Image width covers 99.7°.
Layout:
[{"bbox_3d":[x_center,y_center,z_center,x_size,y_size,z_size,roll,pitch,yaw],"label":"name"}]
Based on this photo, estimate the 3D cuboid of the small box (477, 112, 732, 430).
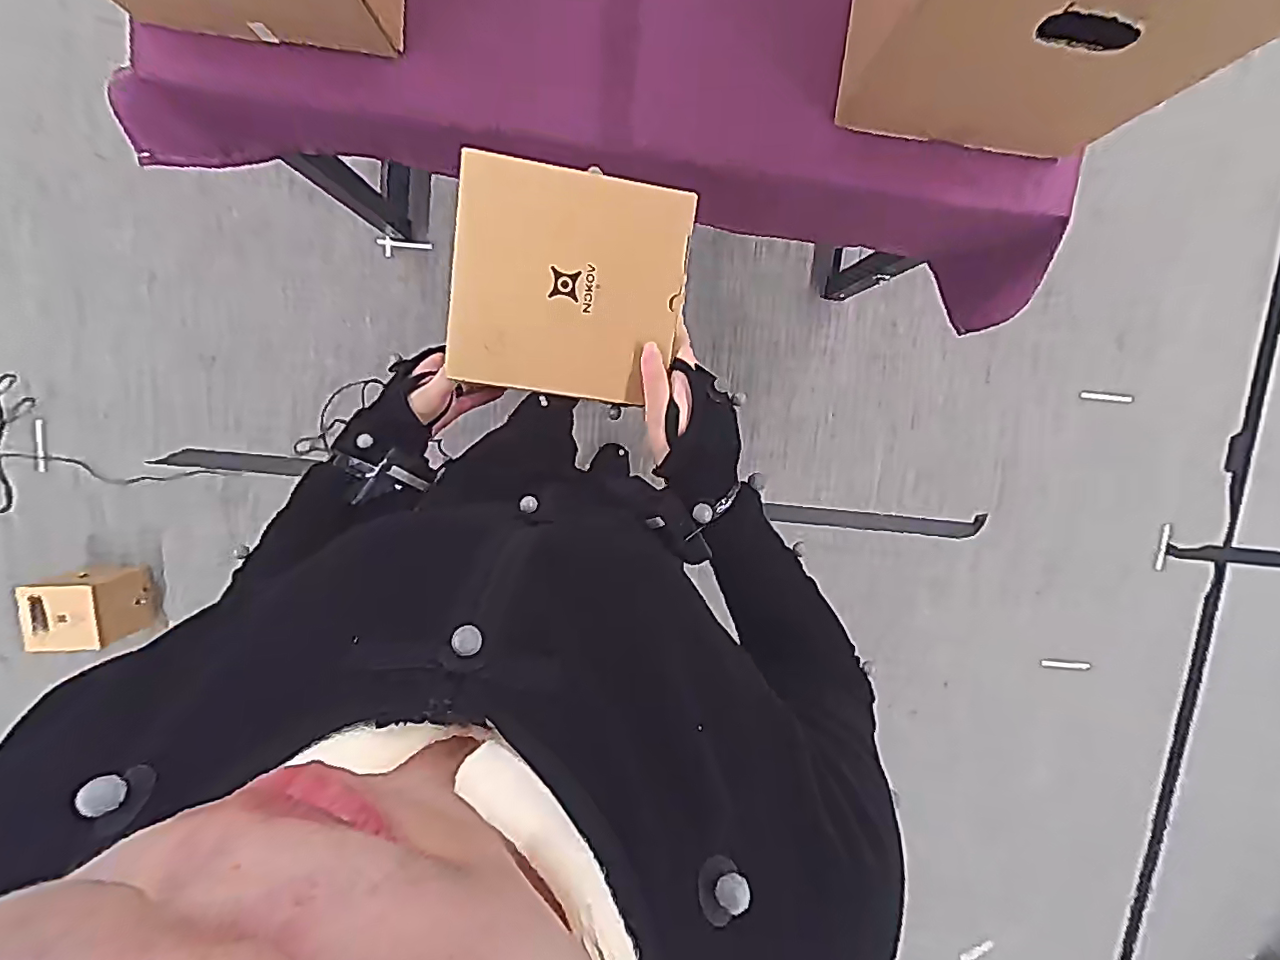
[{"bbox_3d":[-0.038,-0.150,0.451,0.168,0.176,0.179,3,81,-27],"label":"small box"}]
